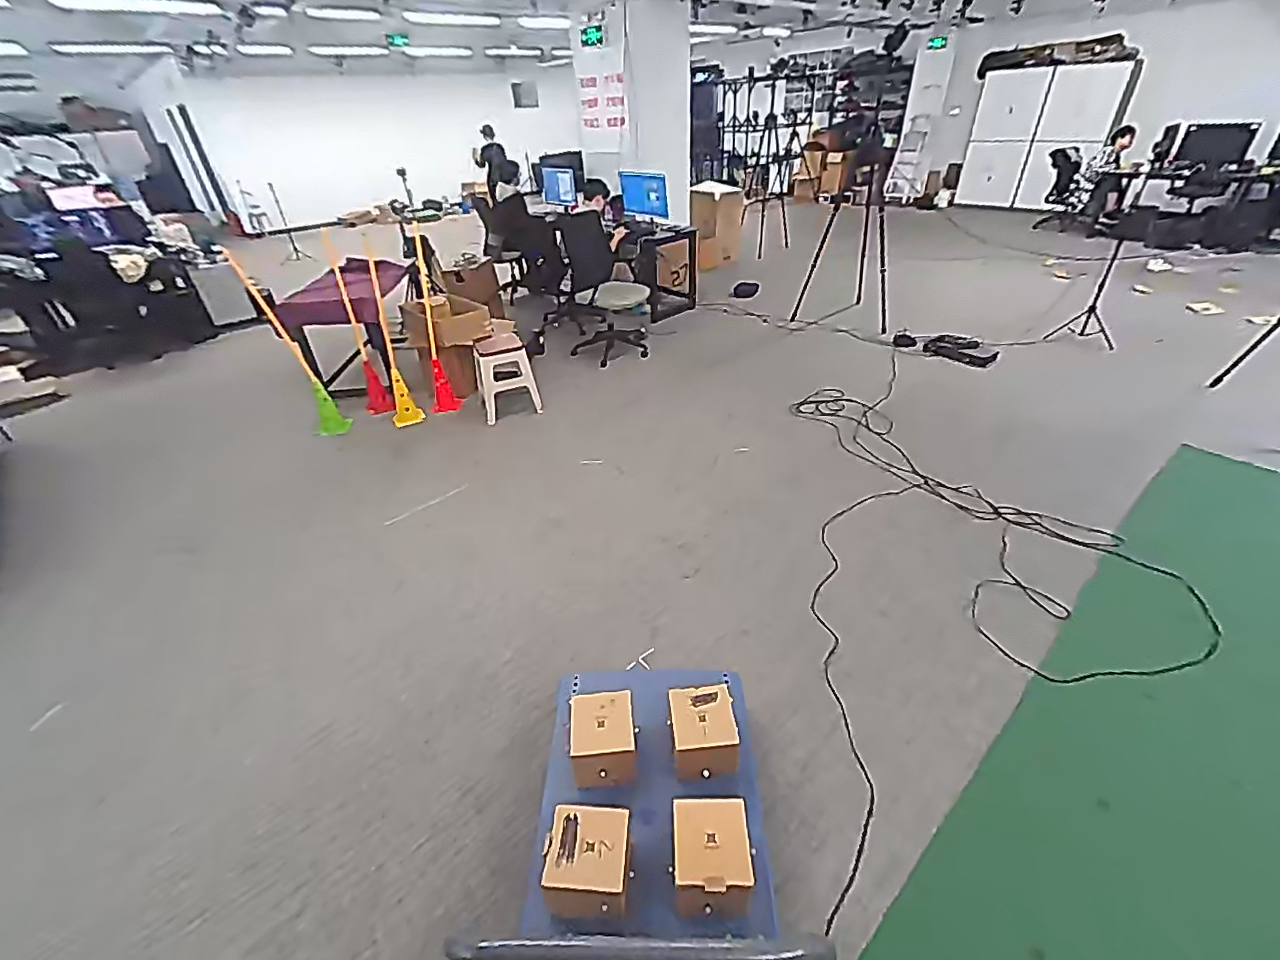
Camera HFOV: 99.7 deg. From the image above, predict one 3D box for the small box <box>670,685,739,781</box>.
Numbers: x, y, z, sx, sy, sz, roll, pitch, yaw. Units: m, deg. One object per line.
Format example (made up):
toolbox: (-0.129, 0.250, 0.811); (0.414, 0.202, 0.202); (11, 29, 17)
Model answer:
small box: (0.169, 0.690, 1.477); (0.168, 0.176, 0.179); (-5, 36, -1)

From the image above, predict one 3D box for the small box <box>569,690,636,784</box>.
small box: (-0.099, 0.705, 1.476); (0.168, 0.176, 0.179); (-4, 35, -3)

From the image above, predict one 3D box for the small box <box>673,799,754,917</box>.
small box: (0.161, 0.861, 1.236); (0.168, 0.176, 0.179); (-1, 35, 2)
